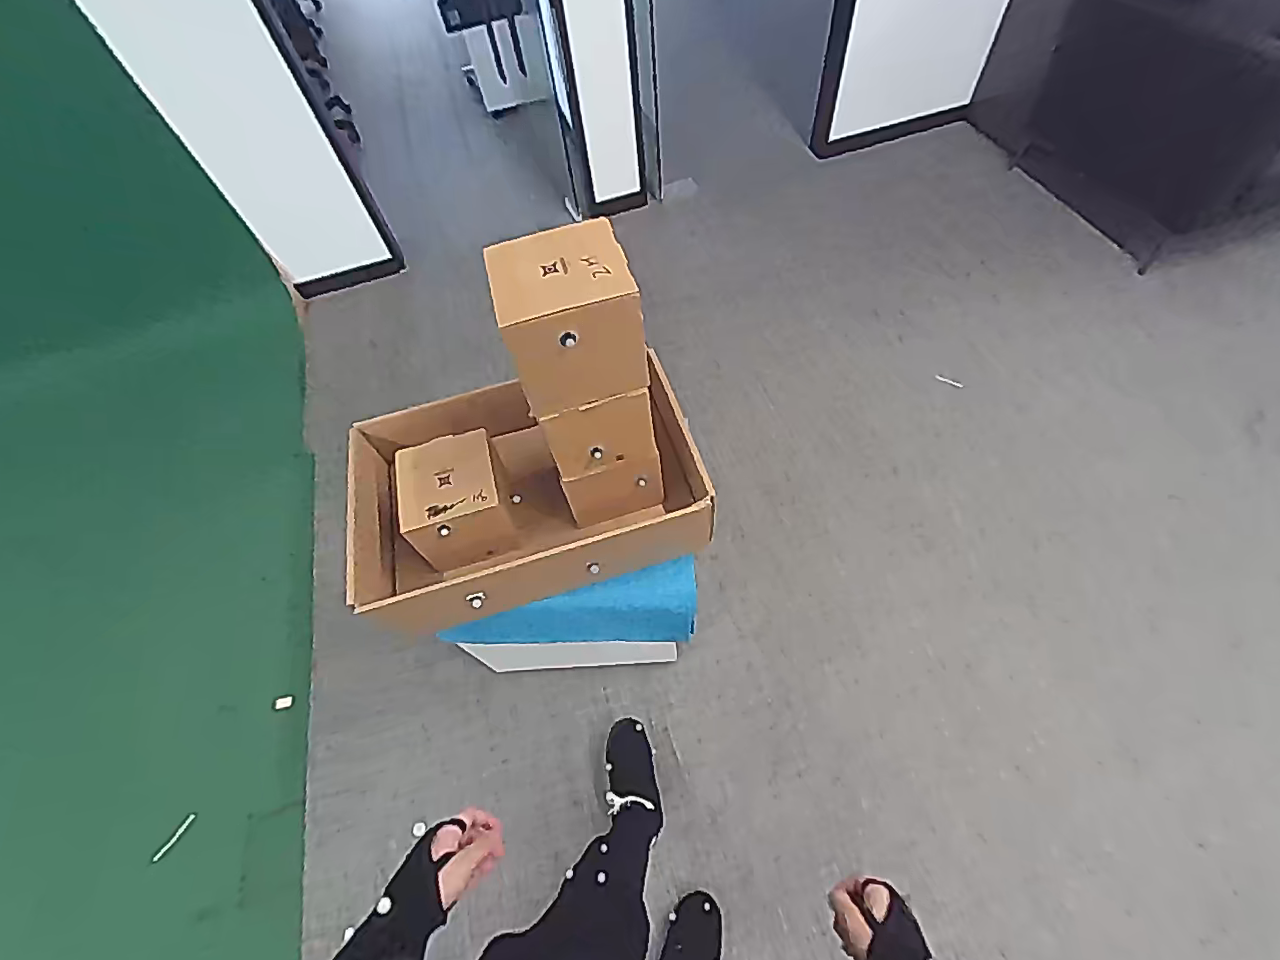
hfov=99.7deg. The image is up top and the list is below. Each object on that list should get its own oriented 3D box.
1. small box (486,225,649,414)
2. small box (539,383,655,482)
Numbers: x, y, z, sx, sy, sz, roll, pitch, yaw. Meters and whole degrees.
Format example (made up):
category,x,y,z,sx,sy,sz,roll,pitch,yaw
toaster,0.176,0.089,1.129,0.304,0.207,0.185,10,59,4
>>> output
category,x,y,z,sx,sy,sz,roll,pitch,yaw
small box,-0.095,-0.216,0.750,0.179,0.176,0.168,-15,57,-4
small box,-0.078,-0.126,0.888,0.168,0.176,0.179,-16,57,-4
